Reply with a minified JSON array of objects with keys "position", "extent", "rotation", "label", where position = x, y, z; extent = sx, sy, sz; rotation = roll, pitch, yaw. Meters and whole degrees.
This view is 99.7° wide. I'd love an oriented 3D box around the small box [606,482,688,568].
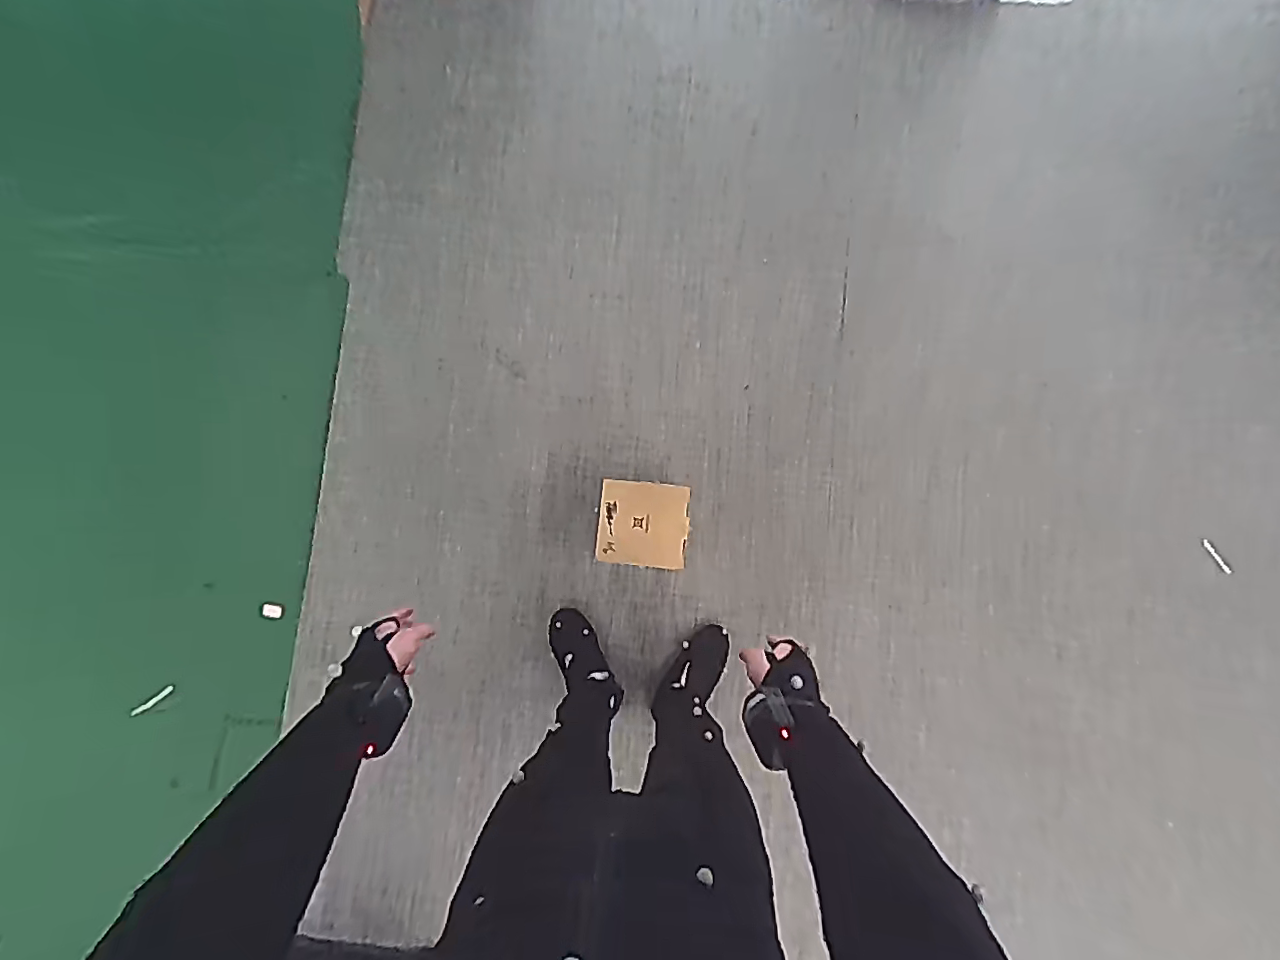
[{"position":[0.021,0.107,1.293],"extent":[0.168,0.176,0.179],"rotation":[8,86,4],"label":"small box"}]
